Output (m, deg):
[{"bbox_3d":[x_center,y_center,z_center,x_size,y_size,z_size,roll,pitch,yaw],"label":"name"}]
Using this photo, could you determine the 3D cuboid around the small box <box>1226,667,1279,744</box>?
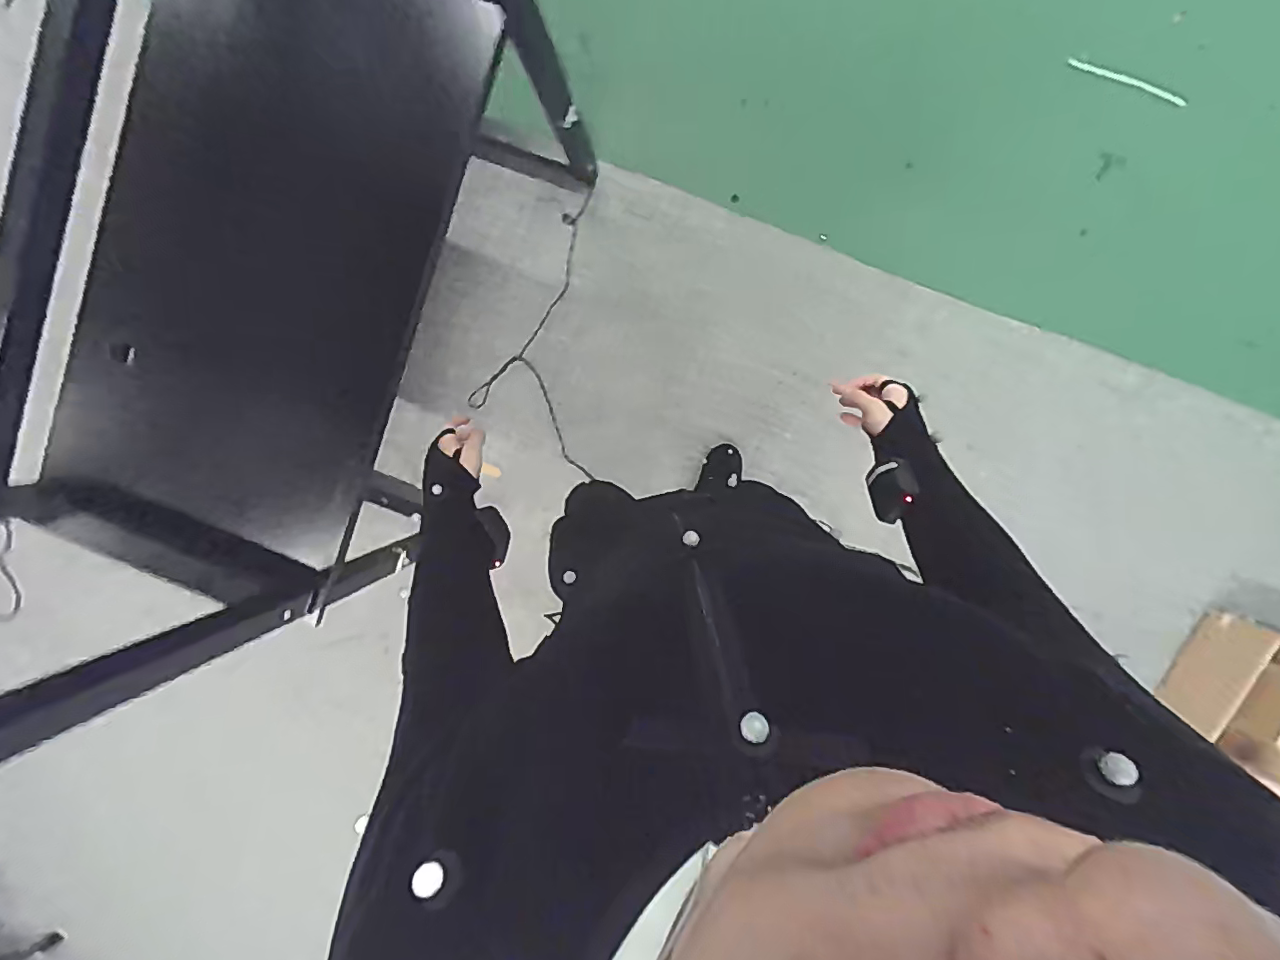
[{"bbox_3d":[1.705,0.611,1.395,0.179,0.176,0.168,22,99,3],"label":"small box"}]
